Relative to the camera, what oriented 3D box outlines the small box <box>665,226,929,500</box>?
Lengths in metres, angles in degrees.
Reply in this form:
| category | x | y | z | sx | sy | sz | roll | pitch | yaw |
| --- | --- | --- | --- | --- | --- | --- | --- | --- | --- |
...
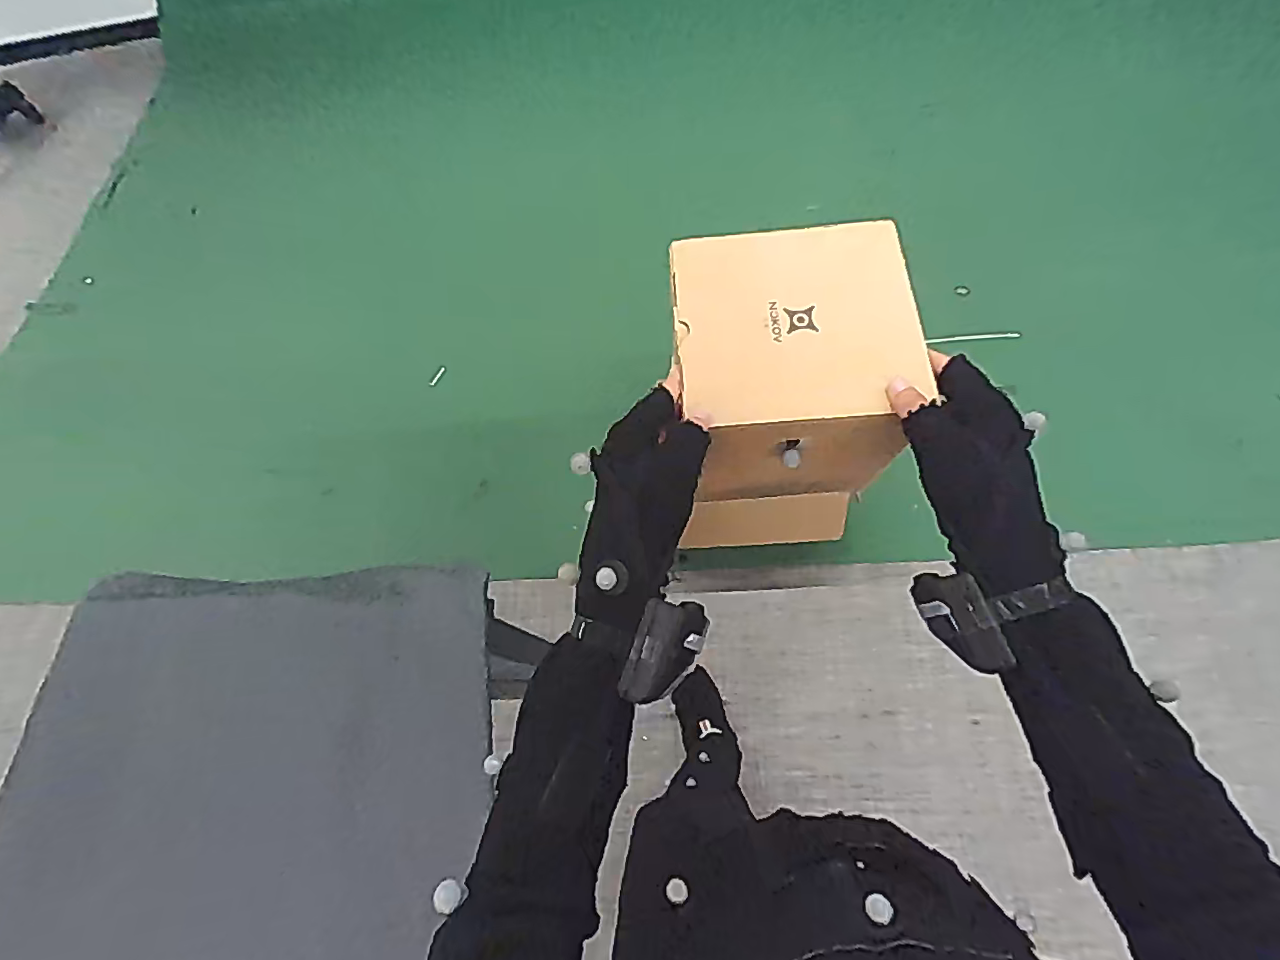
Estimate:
| category | x | y | z | sx | sy | sz | roll | pitch | yaw |
| --- | --- | --- | --- | --- | --- | --- | --- | --- | --- |
| small box | 0.115 | -0.088 | 0.471 | 0.179 | 0.176 | 0.168 | -4 | 69 | 5 |
